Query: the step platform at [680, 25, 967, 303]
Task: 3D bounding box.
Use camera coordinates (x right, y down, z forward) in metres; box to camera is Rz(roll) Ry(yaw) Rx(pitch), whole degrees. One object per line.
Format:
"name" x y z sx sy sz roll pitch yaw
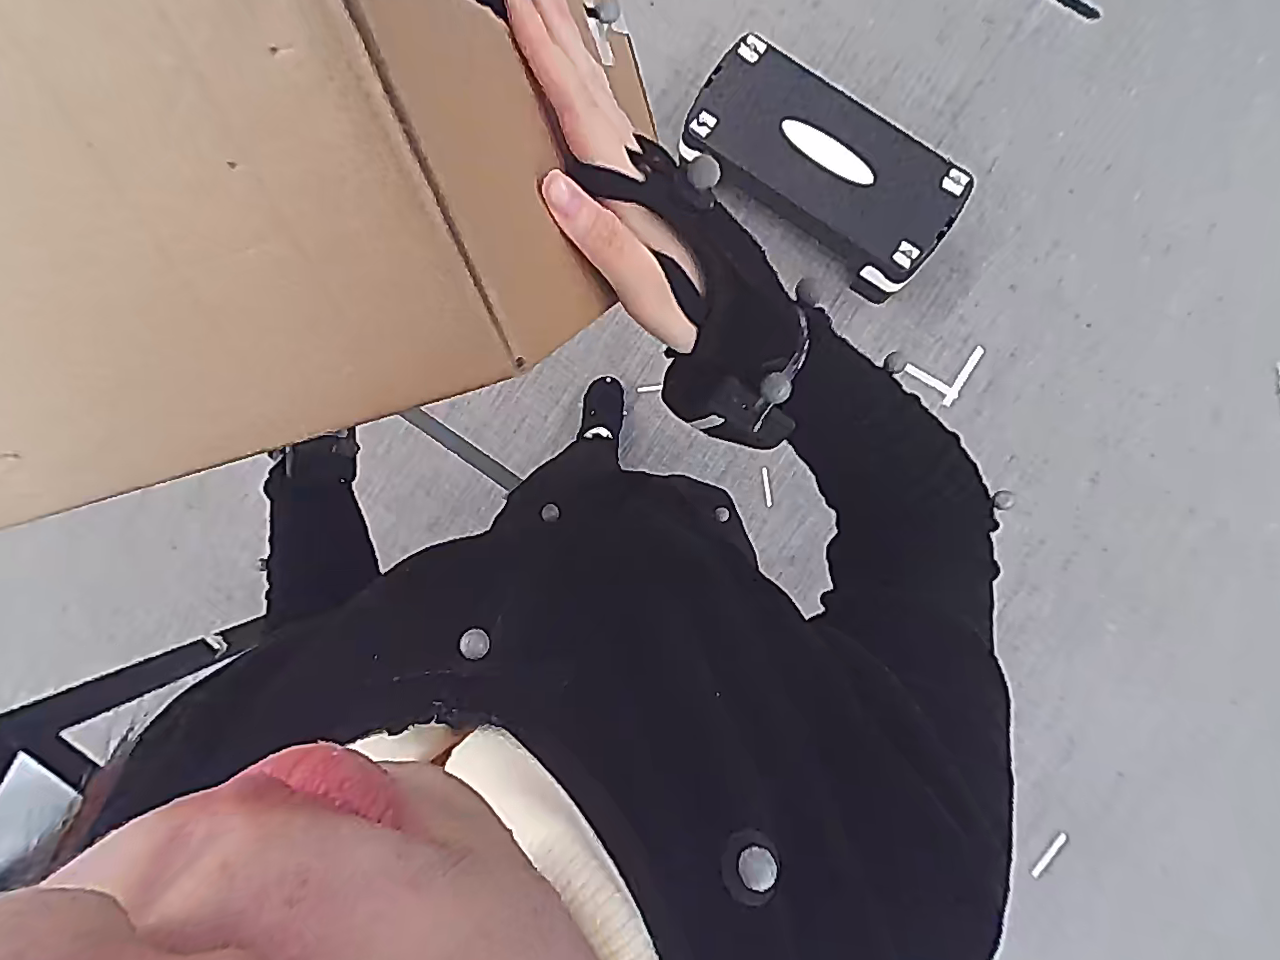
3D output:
"step platform" 0.428 -0.762 1.326 0.684 0.204 0.286 40 94 3

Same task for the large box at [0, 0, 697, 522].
"large box" -0.221 -0.213 0.305 0.408 0.320 0.320 -11 115 22
